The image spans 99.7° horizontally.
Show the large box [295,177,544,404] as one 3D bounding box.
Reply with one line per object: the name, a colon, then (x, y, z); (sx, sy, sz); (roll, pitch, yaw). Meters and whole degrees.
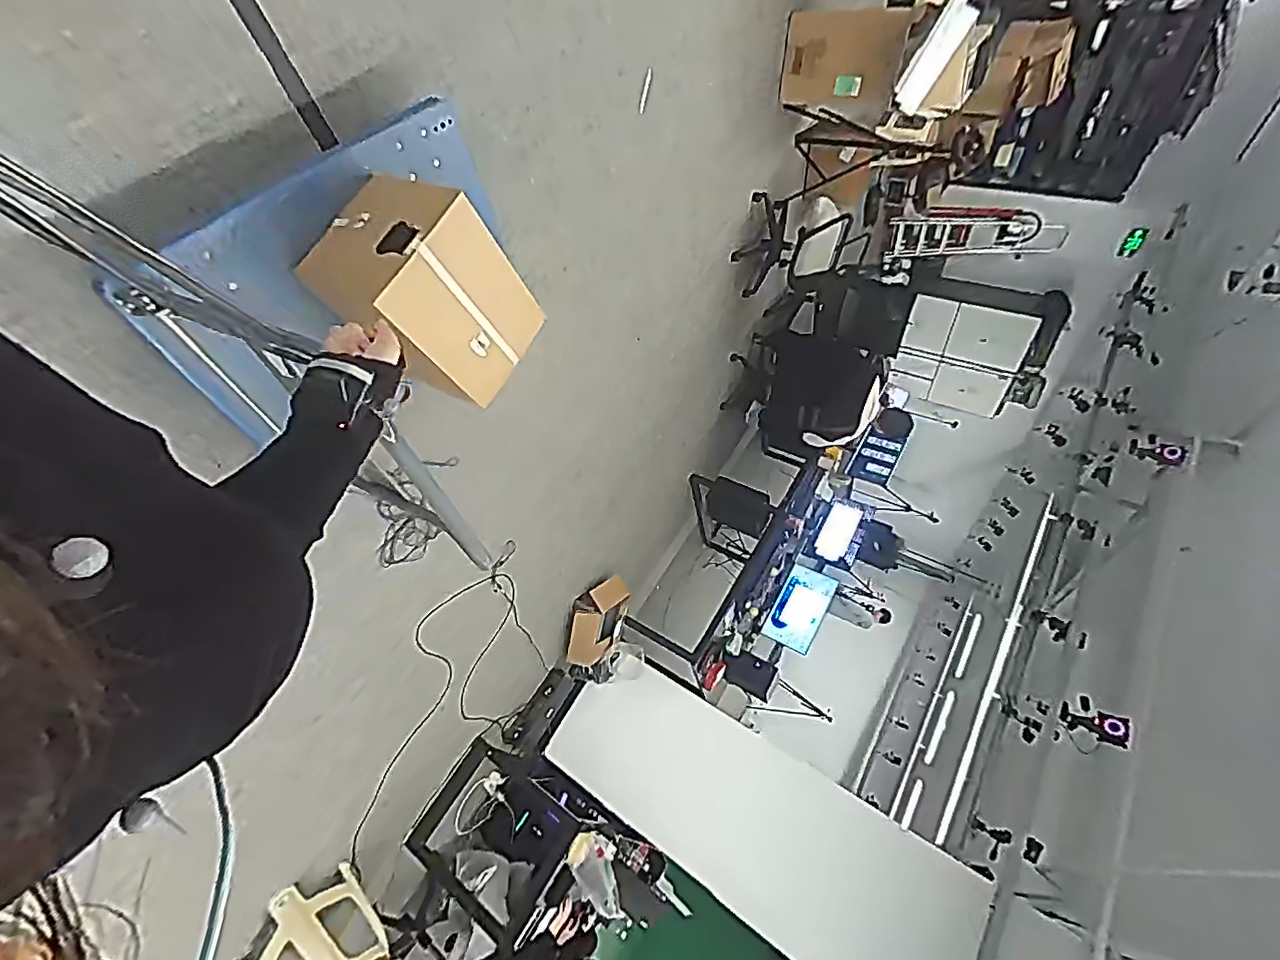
large box: (-0.513, -0.449, 1.322); (0.320, 0.320, 0.408); (-60, 153, -12)
